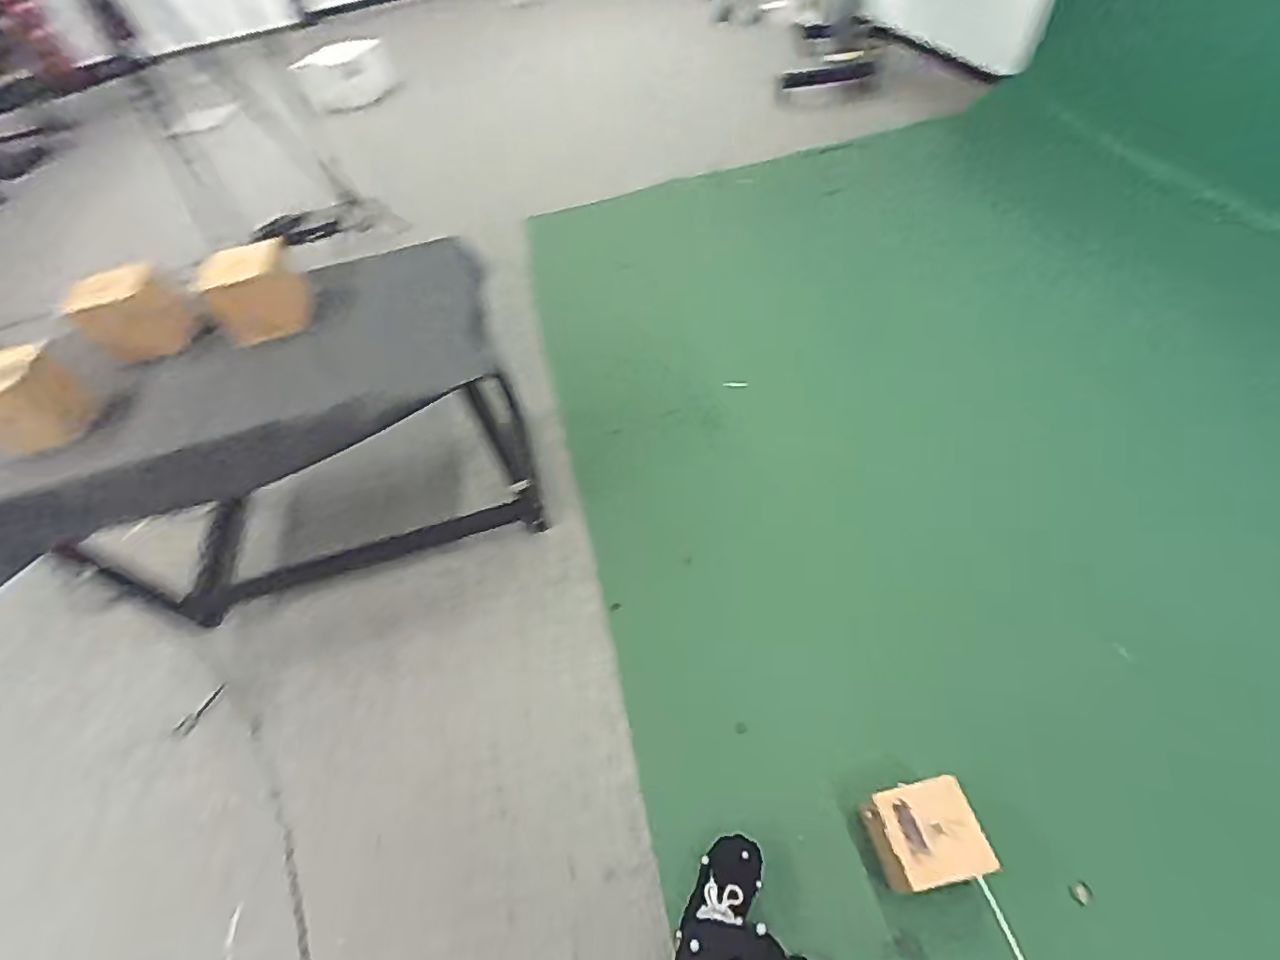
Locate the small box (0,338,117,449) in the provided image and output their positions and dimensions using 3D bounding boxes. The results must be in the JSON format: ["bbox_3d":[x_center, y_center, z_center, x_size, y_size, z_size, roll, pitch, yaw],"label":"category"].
[{"bbox_3d":[-1.380,-0.195,1.243,0.179,0.176,0.168,-13,52,-1],"label":"small box"}]

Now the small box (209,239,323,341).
[{"bbox_3d":[-0.958,-0.492,1.407,0.168,0.176,0.179,-14,53,-2],"label":"small box"}]

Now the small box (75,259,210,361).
[{"bbox_3d":[-1.282,-0.441,1.412,0.179,0.176,0.168,-15,53,-2],"label":"small box"}]
